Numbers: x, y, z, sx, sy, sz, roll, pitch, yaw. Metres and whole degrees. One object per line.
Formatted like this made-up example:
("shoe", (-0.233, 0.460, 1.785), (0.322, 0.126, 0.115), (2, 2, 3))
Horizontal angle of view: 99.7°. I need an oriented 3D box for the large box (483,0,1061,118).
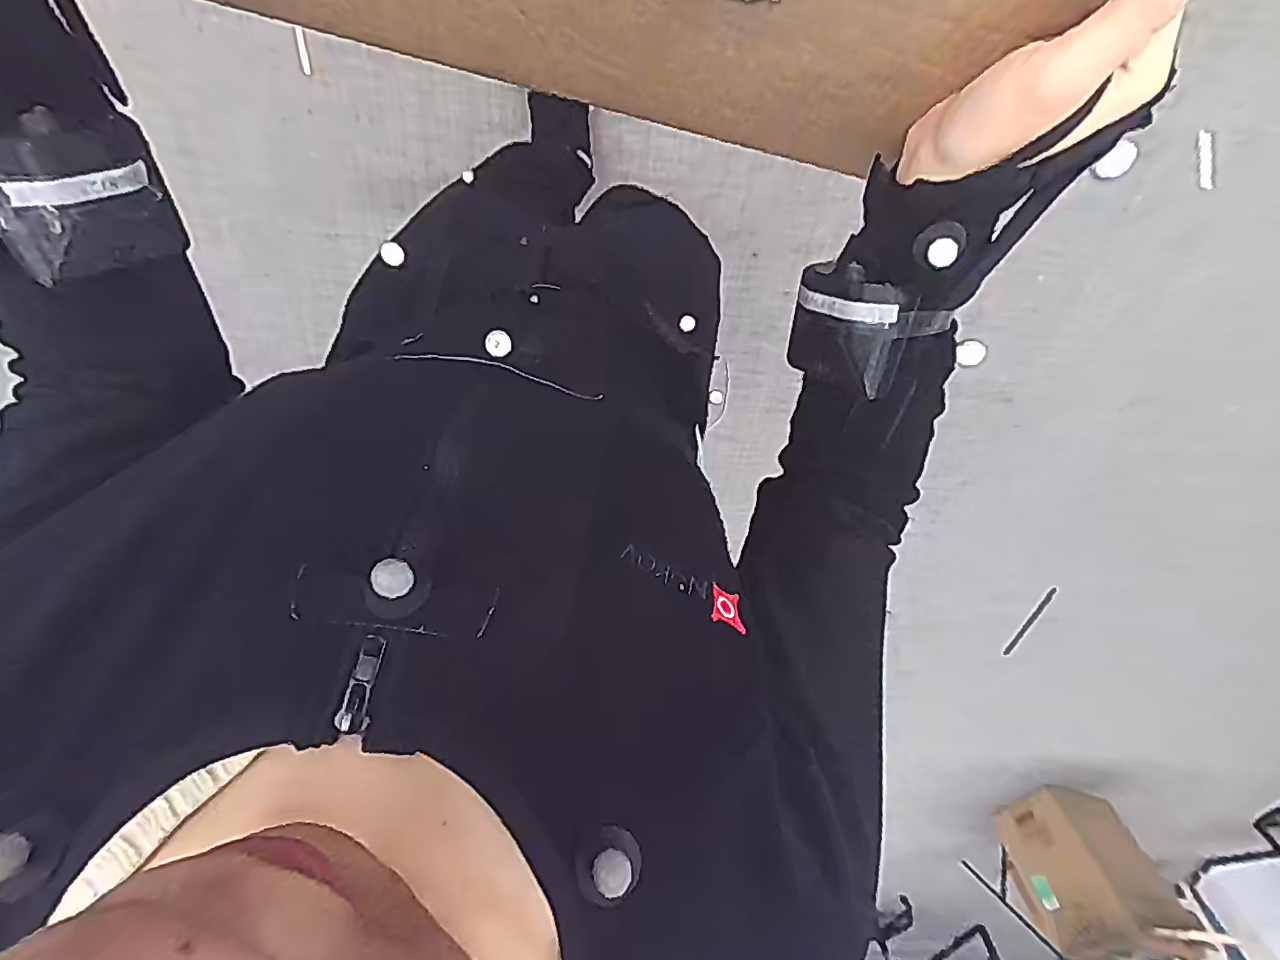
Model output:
("large box", (0.002, -0.358, 0.101), (0.408, 0.320, 0.320), (6, 92, -12))
